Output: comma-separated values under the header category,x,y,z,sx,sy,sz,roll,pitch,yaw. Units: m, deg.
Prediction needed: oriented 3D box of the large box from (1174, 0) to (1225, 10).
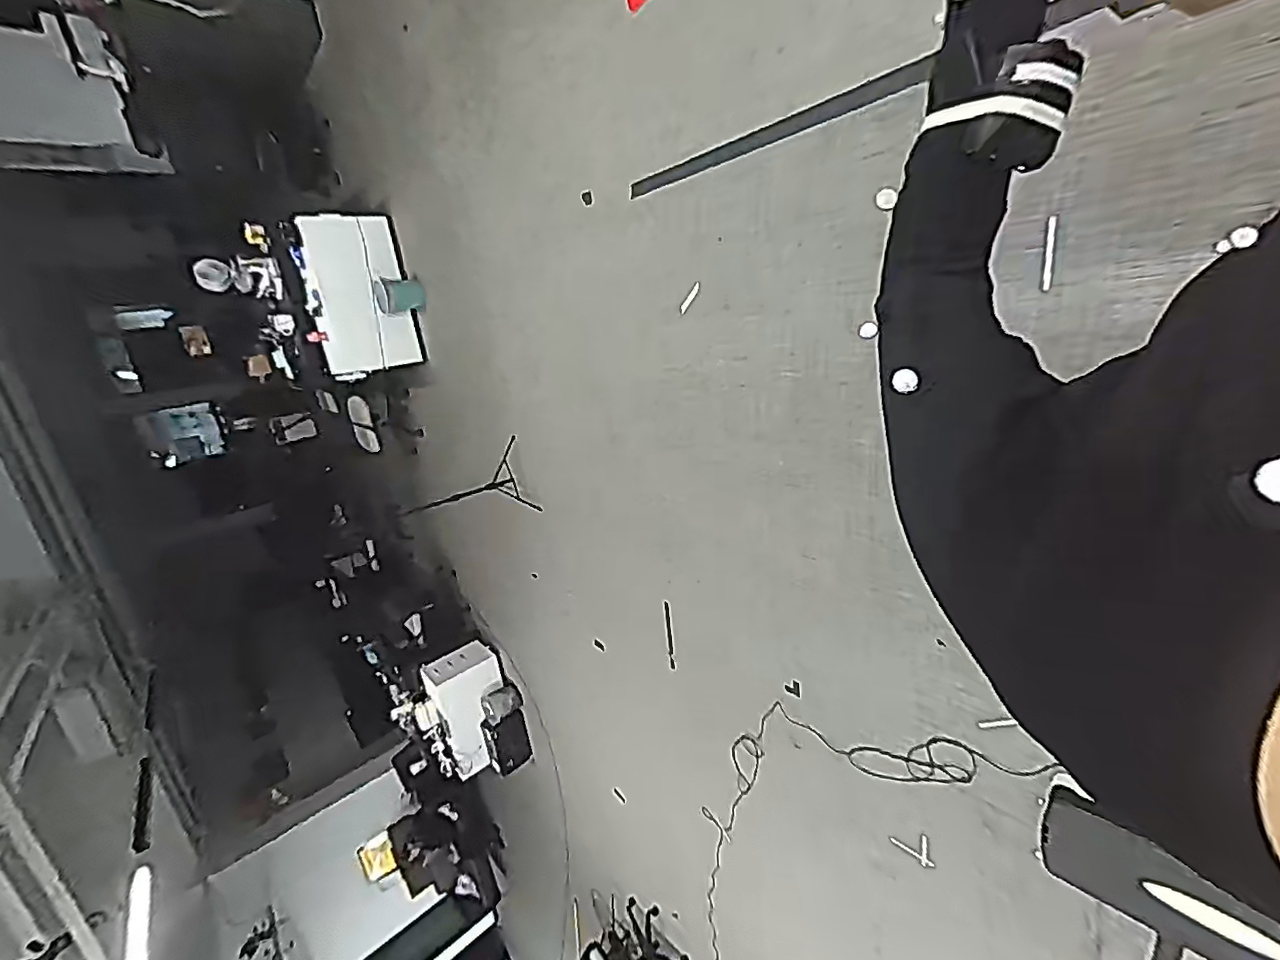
category,x,y,z,sx,sy,sz,roll,pitch,yaw
large box,0.490,-0.497,0.223,0.408,0.320,0.320,8,121,49
